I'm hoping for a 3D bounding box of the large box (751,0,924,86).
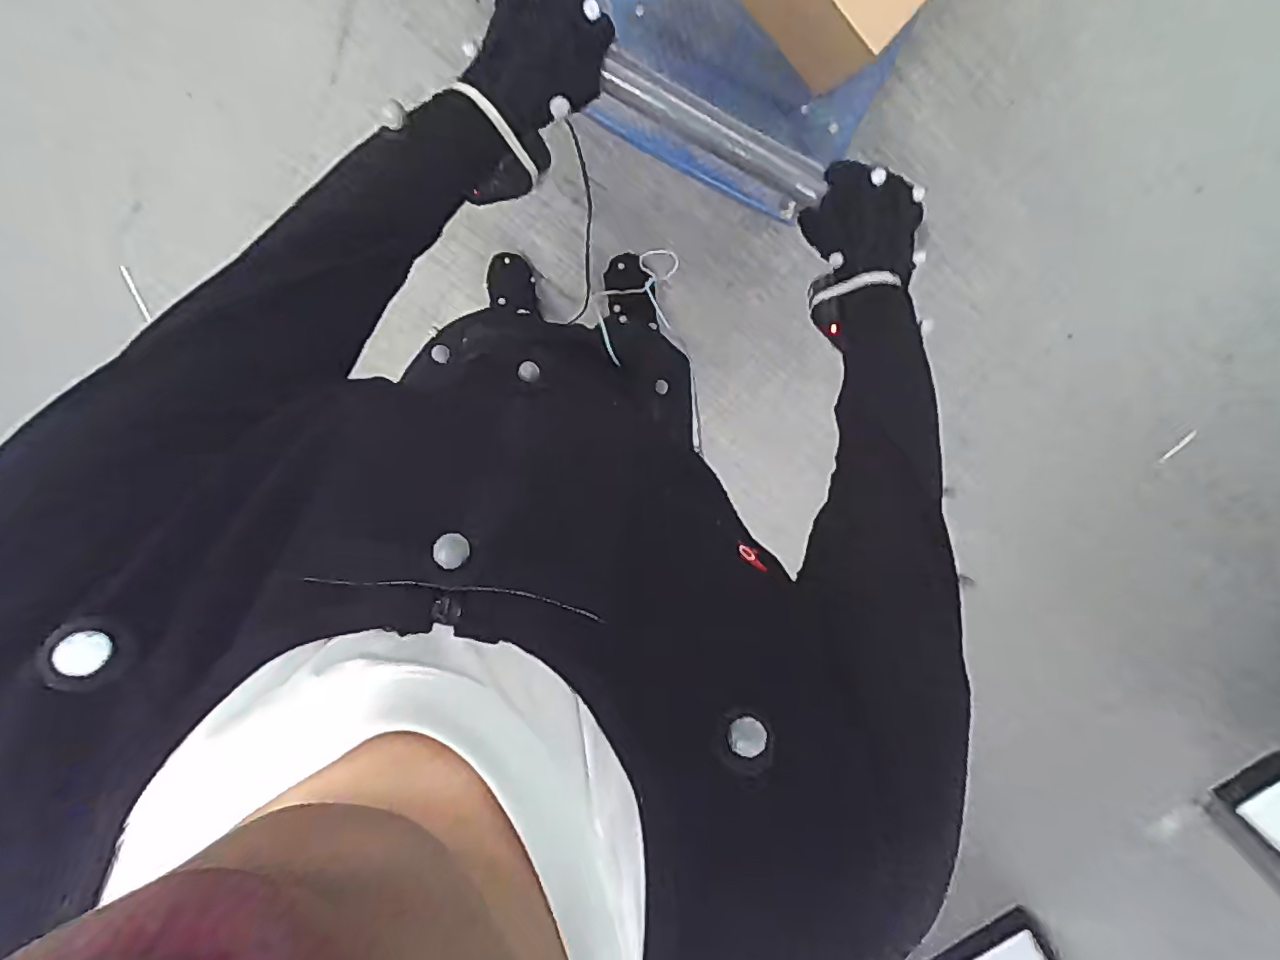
[{"bbox_3d":[0.293,-0.890,0.786,0.408,0.320,0.320,39,111,-16],"label":"large box"}]
